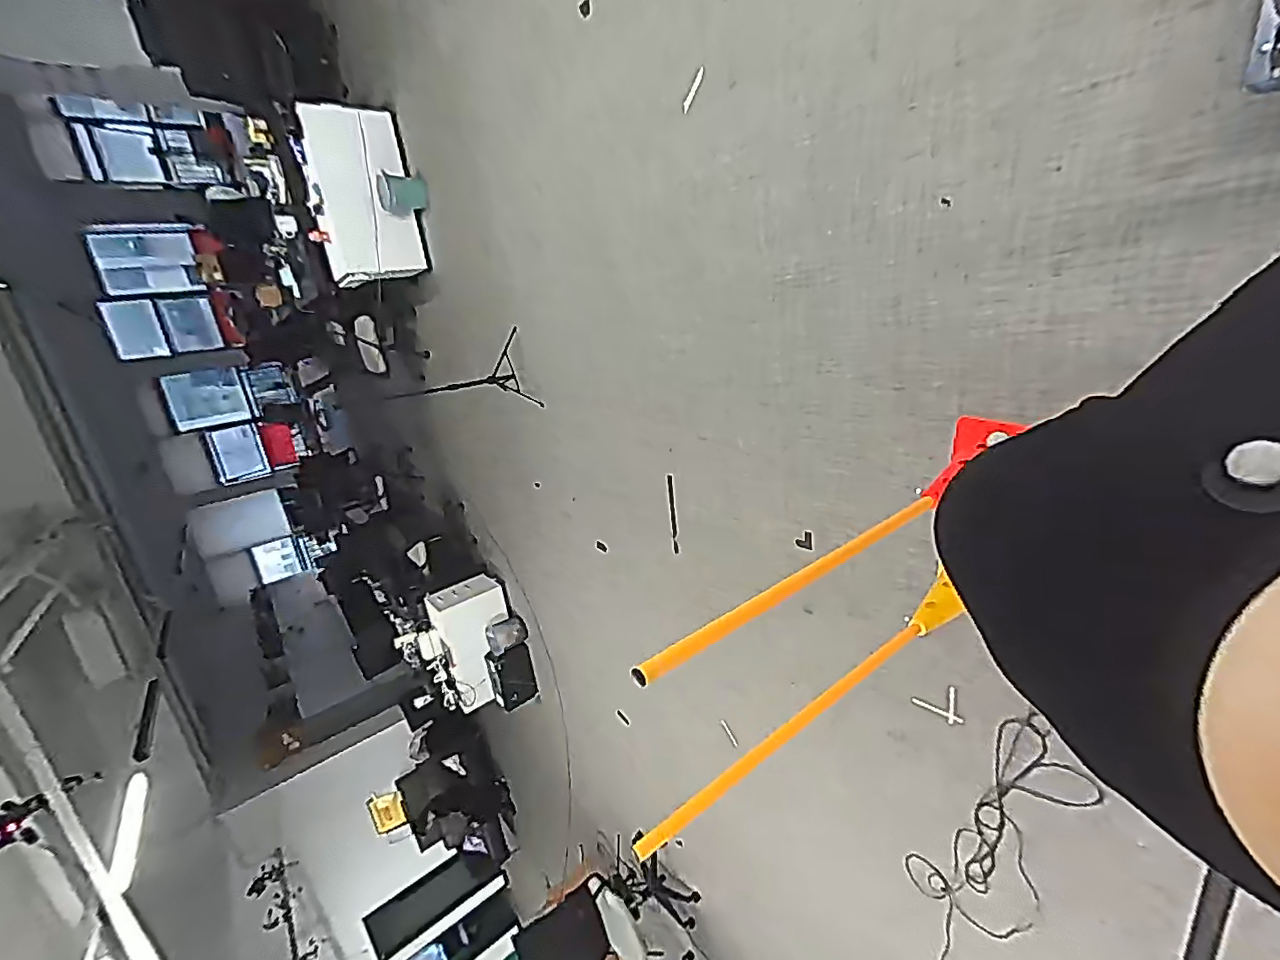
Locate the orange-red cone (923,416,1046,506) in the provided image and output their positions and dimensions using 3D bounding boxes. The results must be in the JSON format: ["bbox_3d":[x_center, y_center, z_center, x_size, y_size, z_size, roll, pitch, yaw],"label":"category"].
[{"bbox_3d":[0.767,-0.010,1.275,0.198,0.360,0.199,24,123,46],"label":"orange-red cone"}]
